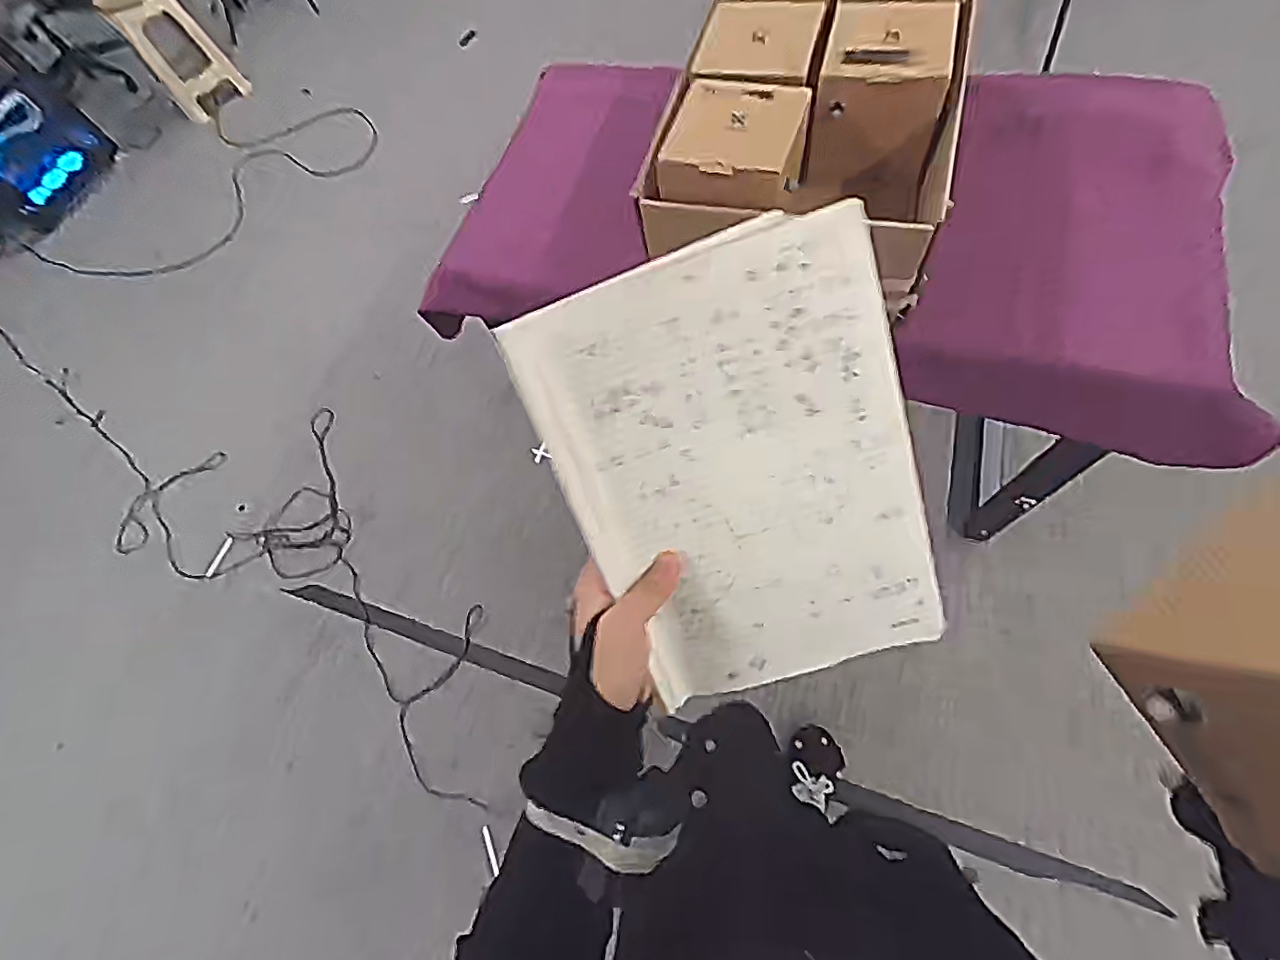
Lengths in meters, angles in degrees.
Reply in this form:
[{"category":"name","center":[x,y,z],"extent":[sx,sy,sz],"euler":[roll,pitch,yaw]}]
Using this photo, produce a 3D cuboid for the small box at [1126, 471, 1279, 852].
[{"category":"small box","center":[0.389,0.094,0.249],"extent":[0.179,0.176,0.168],"euler":[-36,88,-10]}]
